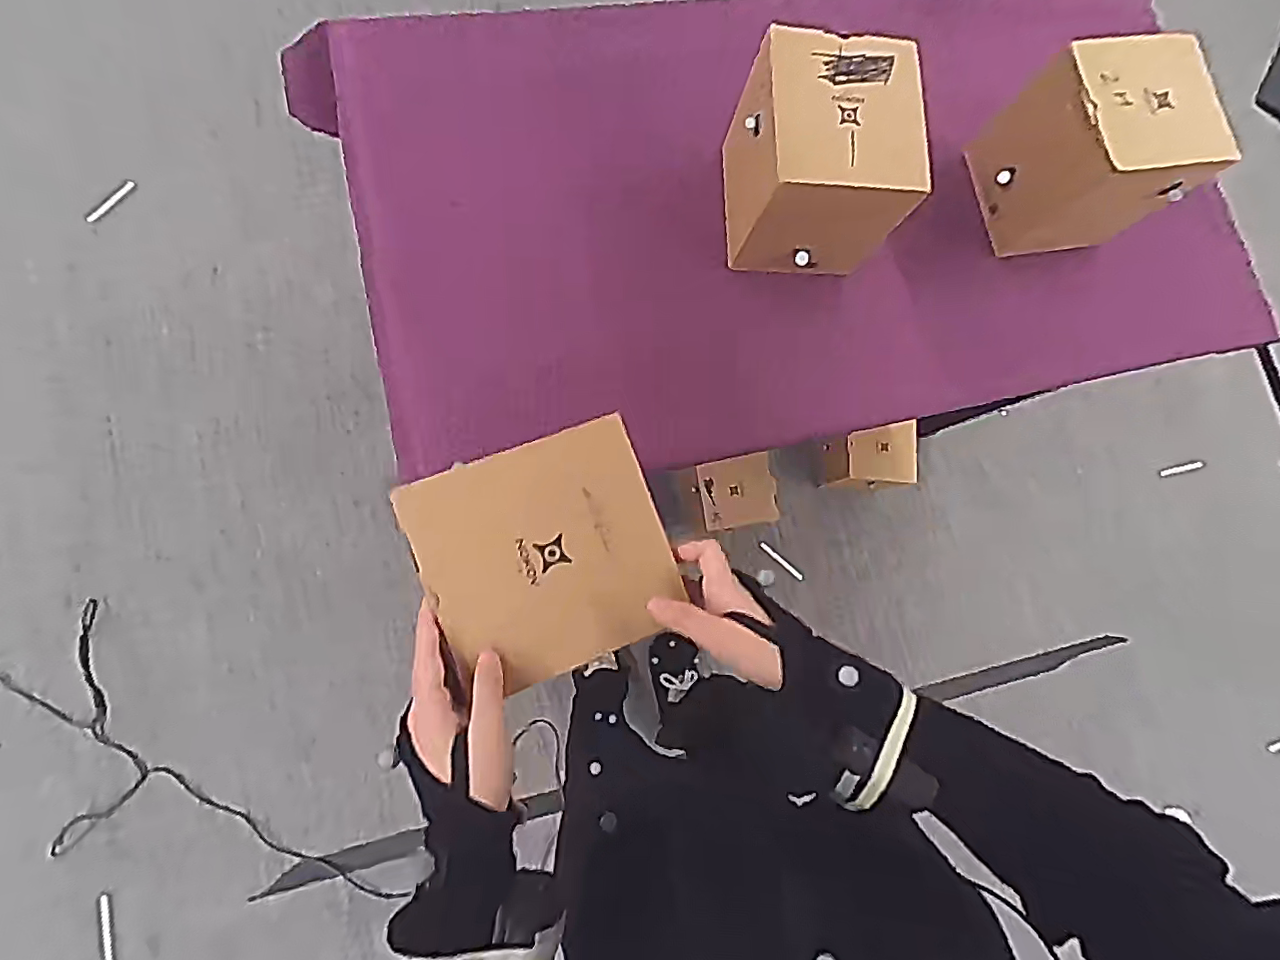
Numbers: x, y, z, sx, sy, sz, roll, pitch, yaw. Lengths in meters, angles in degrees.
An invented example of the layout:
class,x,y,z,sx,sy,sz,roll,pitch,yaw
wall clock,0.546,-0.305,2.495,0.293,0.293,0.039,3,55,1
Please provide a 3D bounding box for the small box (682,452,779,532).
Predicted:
class,x,y,z,sx,sy,sz,roll,pitch,yaw
small box,0.213,0.034,1.312,0.179,0.176,0.168,-8,83,-9

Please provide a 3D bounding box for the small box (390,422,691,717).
class,x,y,z,sx,sy,sz,roll,pitch,yaw
small box,-0.082,0.068,0.469,0.179,0.176,0.168,-22,90,-13

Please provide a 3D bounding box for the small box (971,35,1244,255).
class,x,y,z,sx,sy,sz,roll,pitch,yaw
small box,0.566,-0.407,0.678,0.179,0.176,0.168,-10,82,-8

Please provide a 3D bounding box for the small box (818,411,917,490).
class,x,y,z,sx,sy,sz,roll,pitch,yaw
small box,0.574,-0.068,1.375,0.179,0.176,0.168,5,82,-5

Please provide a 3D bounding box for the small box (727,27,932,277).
class,x,y,z,sx,sy,sz,roll,pitch,yaw
small box,0.203,-0.362,0.625,0.168,0.176,0.179,0,82,-7
